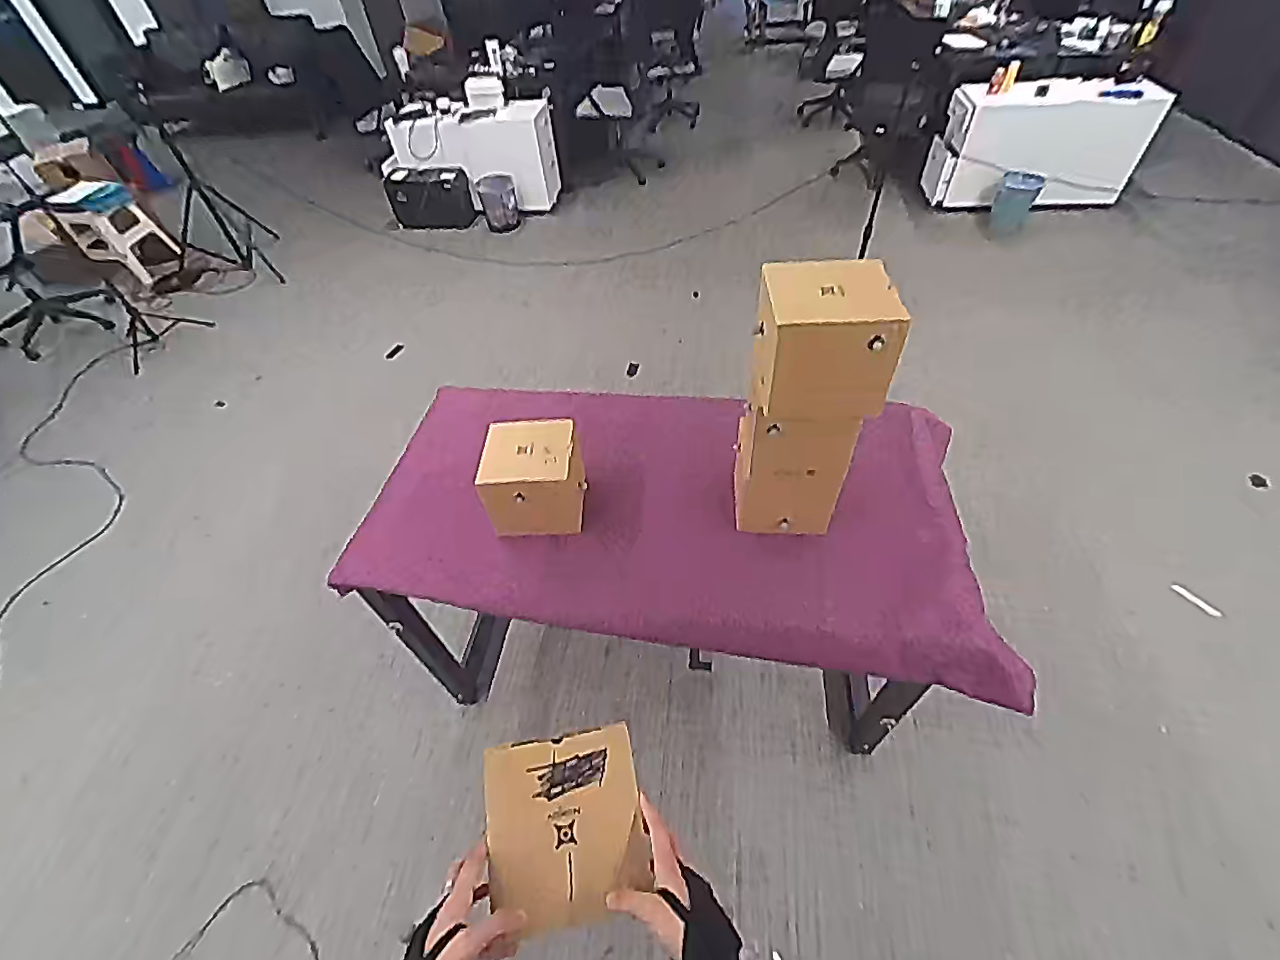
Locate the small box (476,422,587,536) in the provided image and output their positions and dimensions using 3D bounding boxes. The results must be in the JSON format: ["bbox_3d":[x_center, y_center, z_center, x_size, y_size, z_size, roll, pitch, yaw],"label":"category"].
[{"bbox_3d":[-0.210,0.001,1.097,0.179,0.176,0.168,-2,48,2],"label":"small box"}]

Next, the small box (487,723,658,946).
[{"bbox_3d":[-0.084,0.402,0.635,0.168,0.176,0.179,-6,61,-10],"label":"small box"}]

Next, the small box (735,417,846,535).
[{"bbox_3d":[0.285,-0.005,1.063,0.179,0.176,0.168,2,48,5],"label":"small box"}]

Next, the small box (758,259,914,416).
[{"bbox_3d":[0.273,-0.208,0.805,0.179,0.176,0.168,-1,48,4],"label":"small box"}]
